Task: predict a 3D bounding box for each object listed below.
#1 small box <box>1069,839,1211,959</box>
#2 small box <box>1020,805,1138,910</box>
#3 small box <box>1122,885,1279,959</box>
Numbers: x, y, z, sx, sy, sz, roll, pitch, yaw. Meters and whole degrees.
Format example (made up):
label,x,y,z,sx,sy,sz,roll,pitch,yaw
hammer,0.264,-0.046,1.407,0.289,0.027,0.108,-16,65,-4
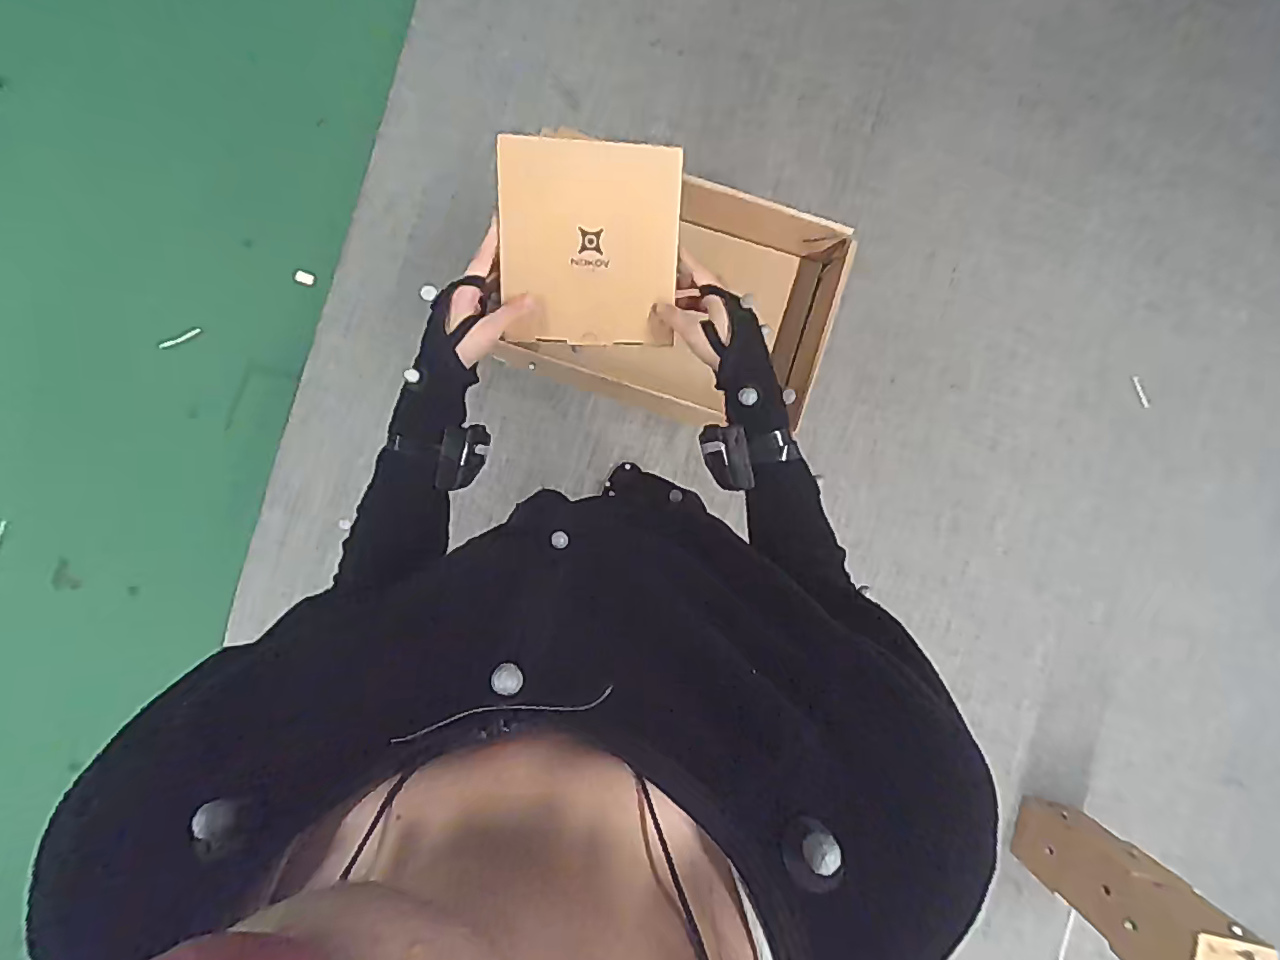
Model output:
label,x,y,z,sx,sy,sz,roll,pitch,yaw
small box,1.168,0.997,1.277,0.168,0.176,0.179,15,89,0
small box,1.162,1.010,1.441,0.168,0.176,0.179,15,89,-1
small box,1.155,0.994,1.114,0.168,0.176,0.179,13,89,-1
